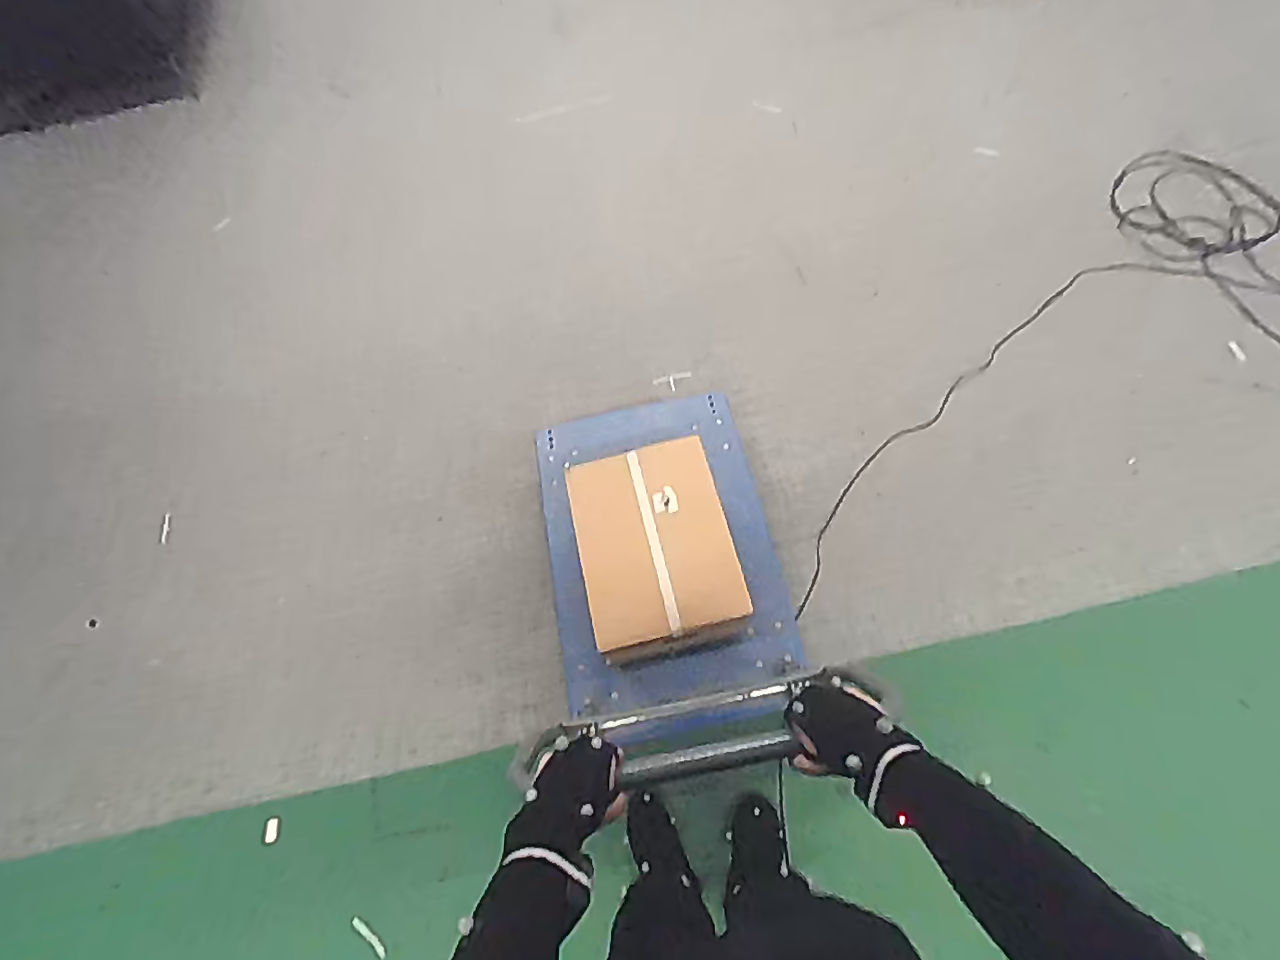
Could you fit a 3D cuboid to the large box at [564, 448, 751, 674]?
[{"bbox_3d":[0.041,0.200,1.261,0.320,0.320,0.408,-15,65,0],"label":"large box"}]
